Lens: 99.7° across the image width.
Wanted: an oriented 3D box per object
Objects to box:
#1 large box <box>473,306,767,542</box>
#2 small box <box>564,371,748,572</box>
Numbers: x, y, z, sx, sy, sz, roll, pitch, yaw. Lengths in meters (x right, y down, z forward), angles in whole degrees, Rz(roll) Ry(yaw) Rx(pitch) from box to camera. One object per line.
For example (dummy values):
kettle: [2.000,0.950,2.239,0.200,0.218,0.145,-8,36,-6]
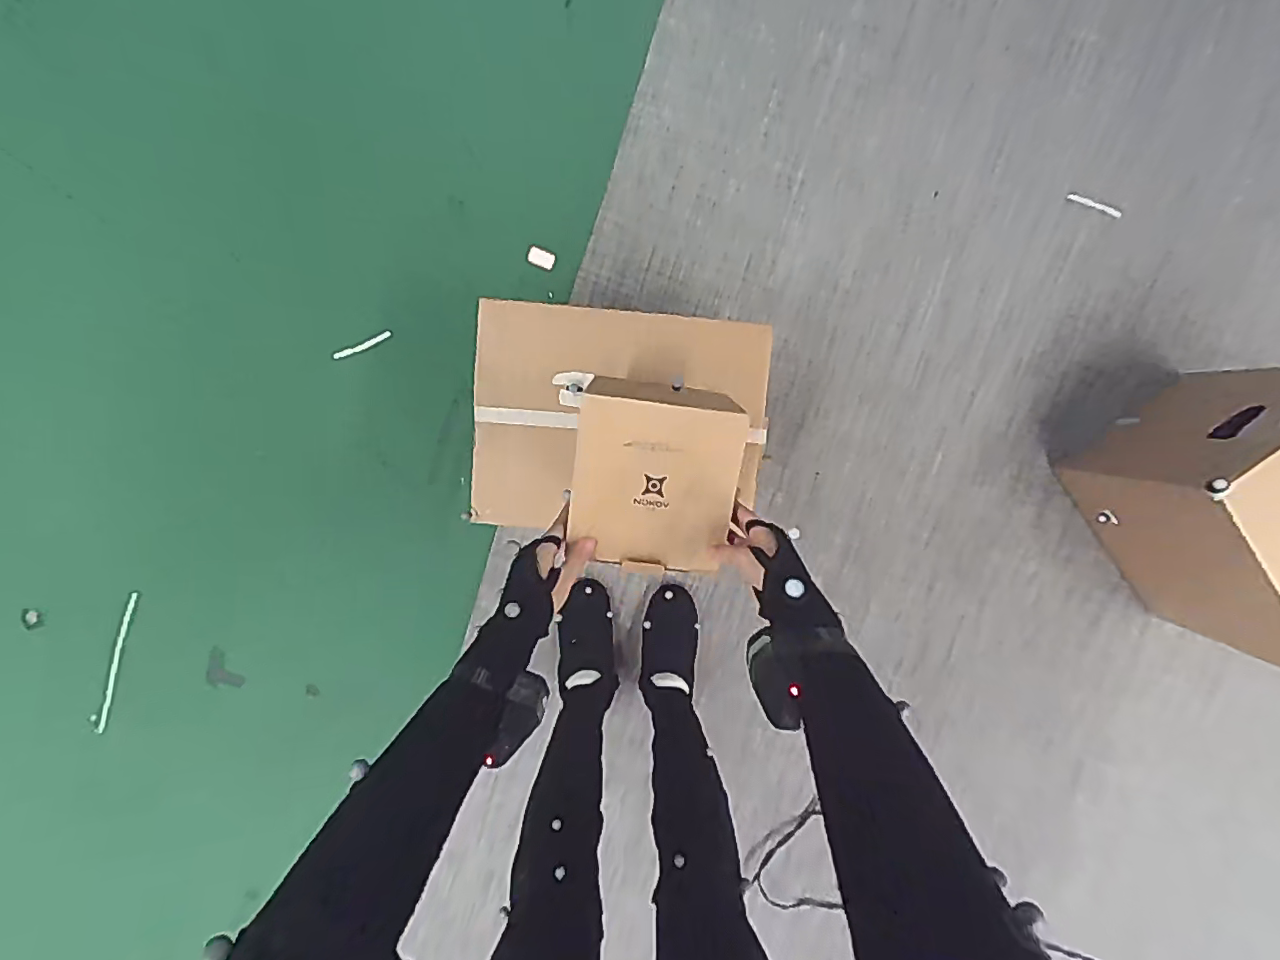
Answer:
large box: [-0.029,-0.093,0.903,0.408,0.320,0.320,4,96,0]
small box: [0.014,-0.019,0.615,0.168,0.176,0.179,7,106,-2]
